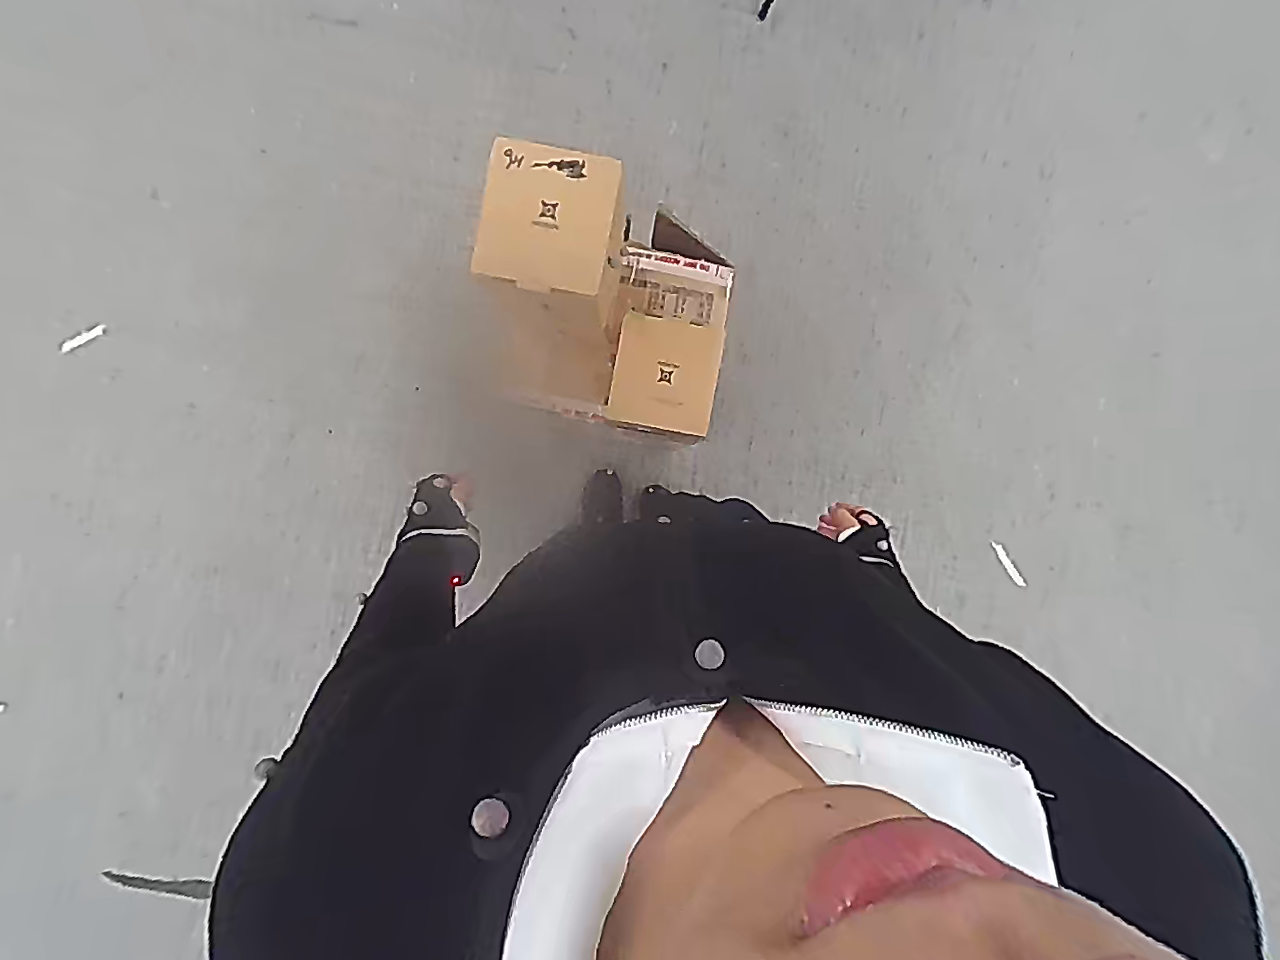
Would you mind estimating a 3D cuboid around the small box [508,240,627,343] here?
[{"bbox_3d":[-0.115,-0.350,0.924,0.168,0.176,0.179,10,93,0],"label":"small box"}]

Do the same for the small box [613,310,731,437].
[{"bbox_3d":[0.049,-0.175,0.937,0.168,0.176,0.179,10,94,-1],"label":"small box"}]

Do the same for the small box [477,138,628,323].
[{"bbox_3d":[-0.111,-0.333,0.760,0.168,0.176,0.179,11,93,0],"label":"small box"}]
